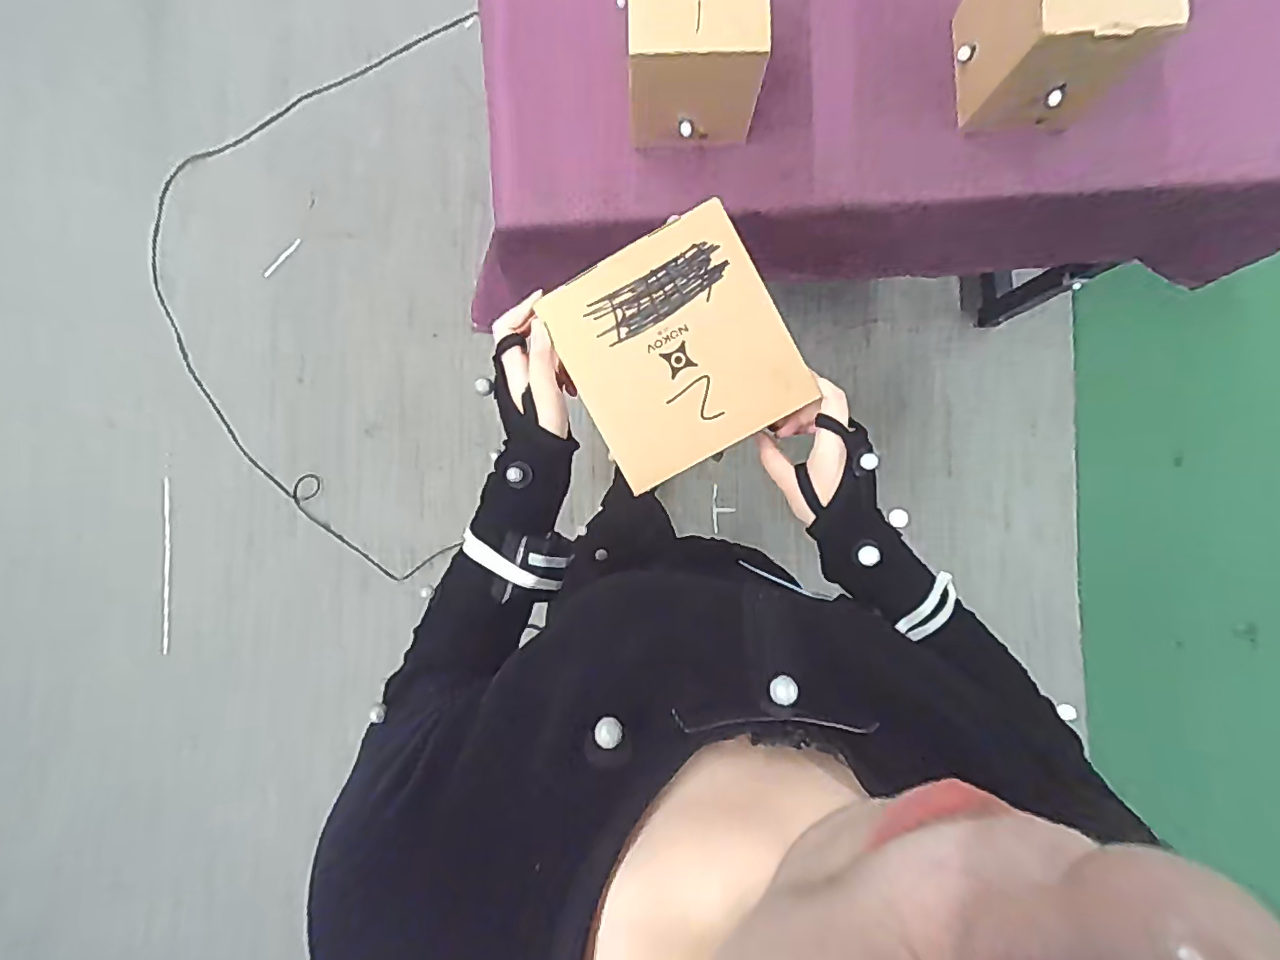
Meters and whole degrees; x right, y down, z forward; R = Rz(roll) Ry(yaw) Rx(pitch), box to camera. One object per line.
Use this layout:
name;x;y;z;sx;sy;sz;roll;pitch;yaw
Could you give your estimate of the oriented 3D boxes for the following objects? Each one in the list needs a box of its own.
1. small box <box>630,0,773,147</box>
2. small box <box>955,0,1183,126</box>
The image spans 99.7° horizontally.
small box;0.070;-0.570;0.700;0.168;0.176;0.179;-1;89;0
small box;0.536;-0.590;0.699;0.168;0.176;0.179;-2;89;0
